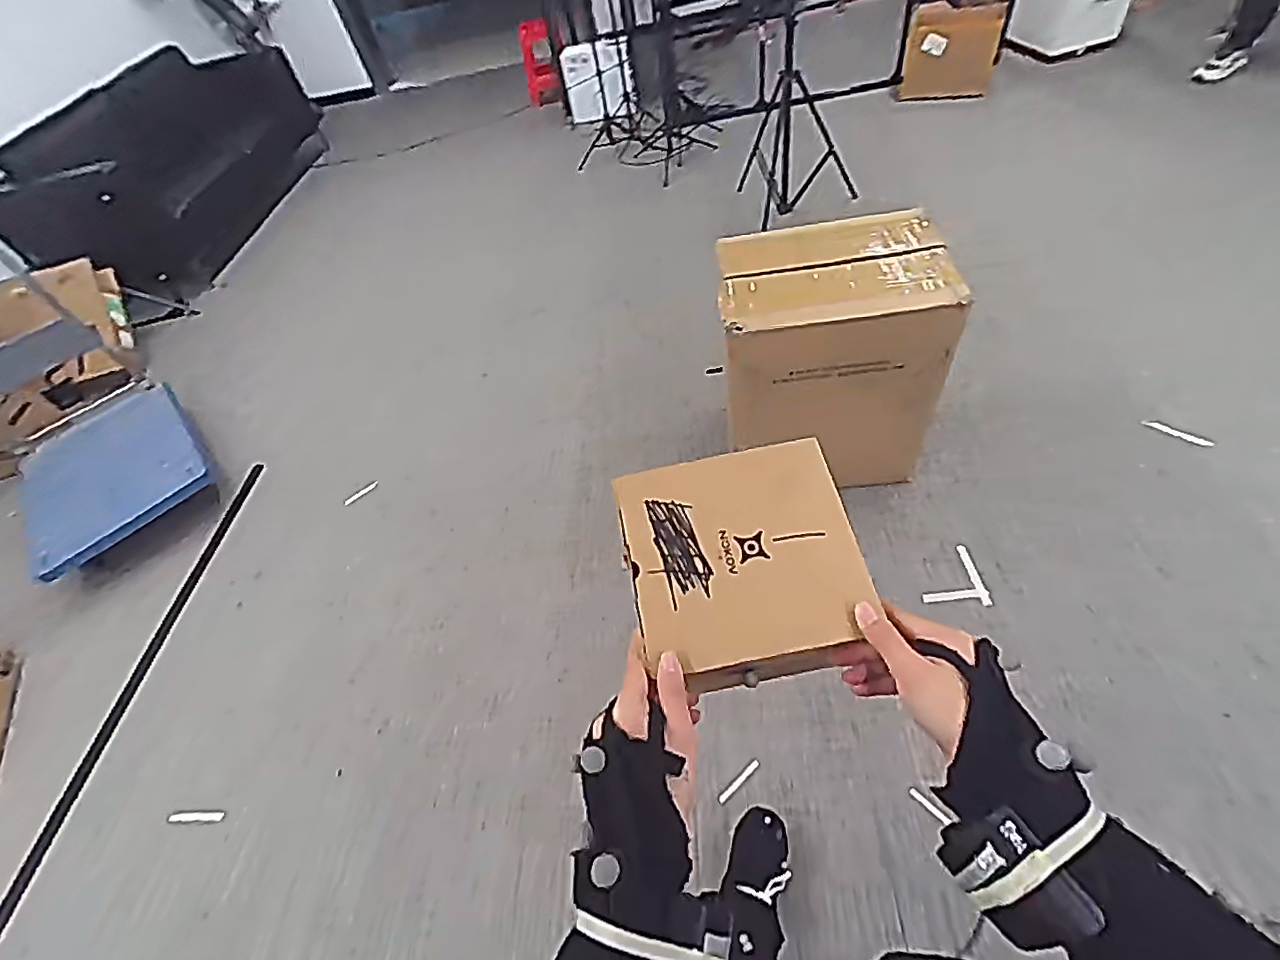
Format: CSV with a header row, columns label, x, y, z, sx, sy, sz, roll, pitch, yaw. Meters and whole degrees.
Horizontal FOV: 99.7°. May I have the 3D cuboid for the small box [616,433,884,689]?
label,x,y,z,sx,sy,sz,roll,pitch,yaw
small box,0.084,0.083,0.489,0.179,0.176,0.168,-11,63,-1
